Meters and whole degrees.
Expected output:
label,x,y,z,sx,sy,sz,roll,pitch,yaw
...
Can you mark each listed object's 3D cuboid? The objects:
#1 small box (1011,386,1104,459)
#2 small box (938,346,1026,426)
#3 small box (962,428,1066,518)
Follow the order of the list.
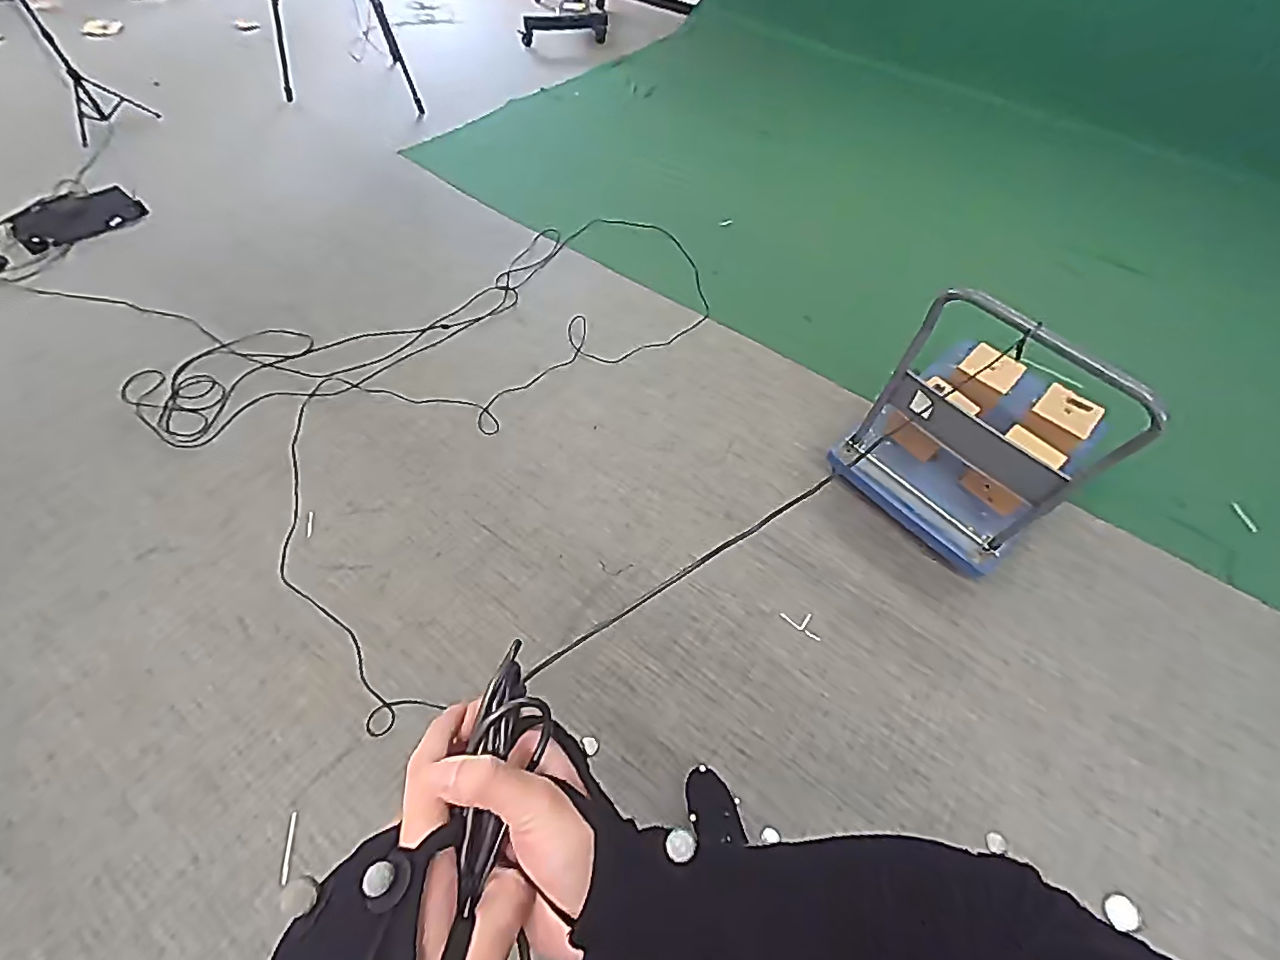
label,x,y,z,sx,sy,sz,roll,pitch,yaw
small box,1.331,-0.164,1.747,0.179,0.176,0.168,-39,65,-24
small box,1.153,-0.316,1.841,0.179,0.176,0.168,-38,66,-24
small box,1.127,-0.020,1.643,0.179,0.176,0.168,-34,64,-22
